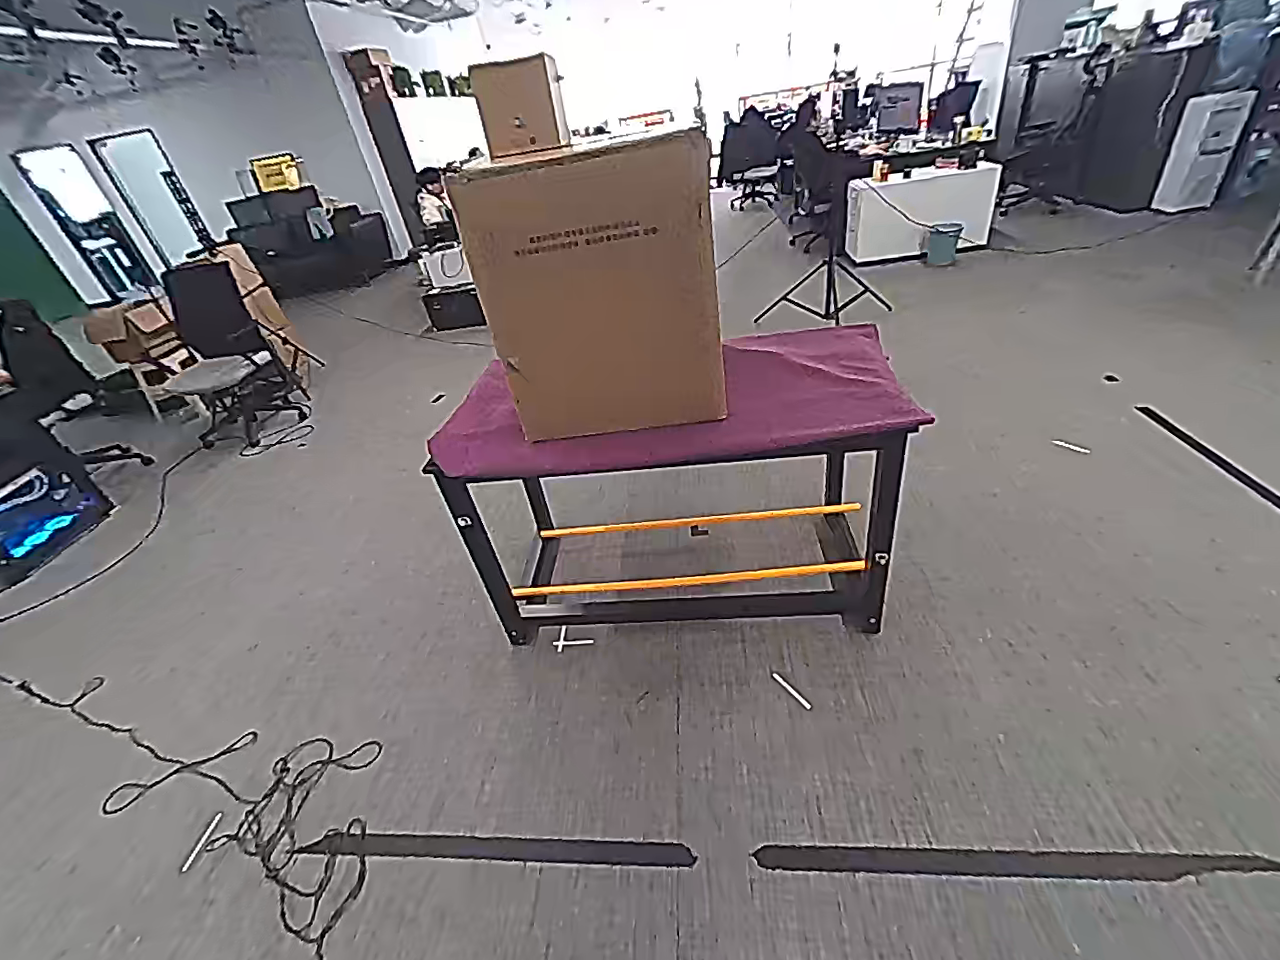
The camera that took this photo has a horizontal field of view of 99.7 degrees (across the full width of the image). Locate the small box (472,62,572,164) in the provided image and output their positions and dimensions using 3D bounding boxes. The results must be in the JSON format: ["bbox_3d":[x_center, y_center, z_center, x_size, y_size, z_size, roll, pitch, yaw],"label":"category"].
[{"bbox_3d":[-0.257,-0.829,1.230,0.168,0.176,0.179,-6,35,7],"label":"small box"}]
